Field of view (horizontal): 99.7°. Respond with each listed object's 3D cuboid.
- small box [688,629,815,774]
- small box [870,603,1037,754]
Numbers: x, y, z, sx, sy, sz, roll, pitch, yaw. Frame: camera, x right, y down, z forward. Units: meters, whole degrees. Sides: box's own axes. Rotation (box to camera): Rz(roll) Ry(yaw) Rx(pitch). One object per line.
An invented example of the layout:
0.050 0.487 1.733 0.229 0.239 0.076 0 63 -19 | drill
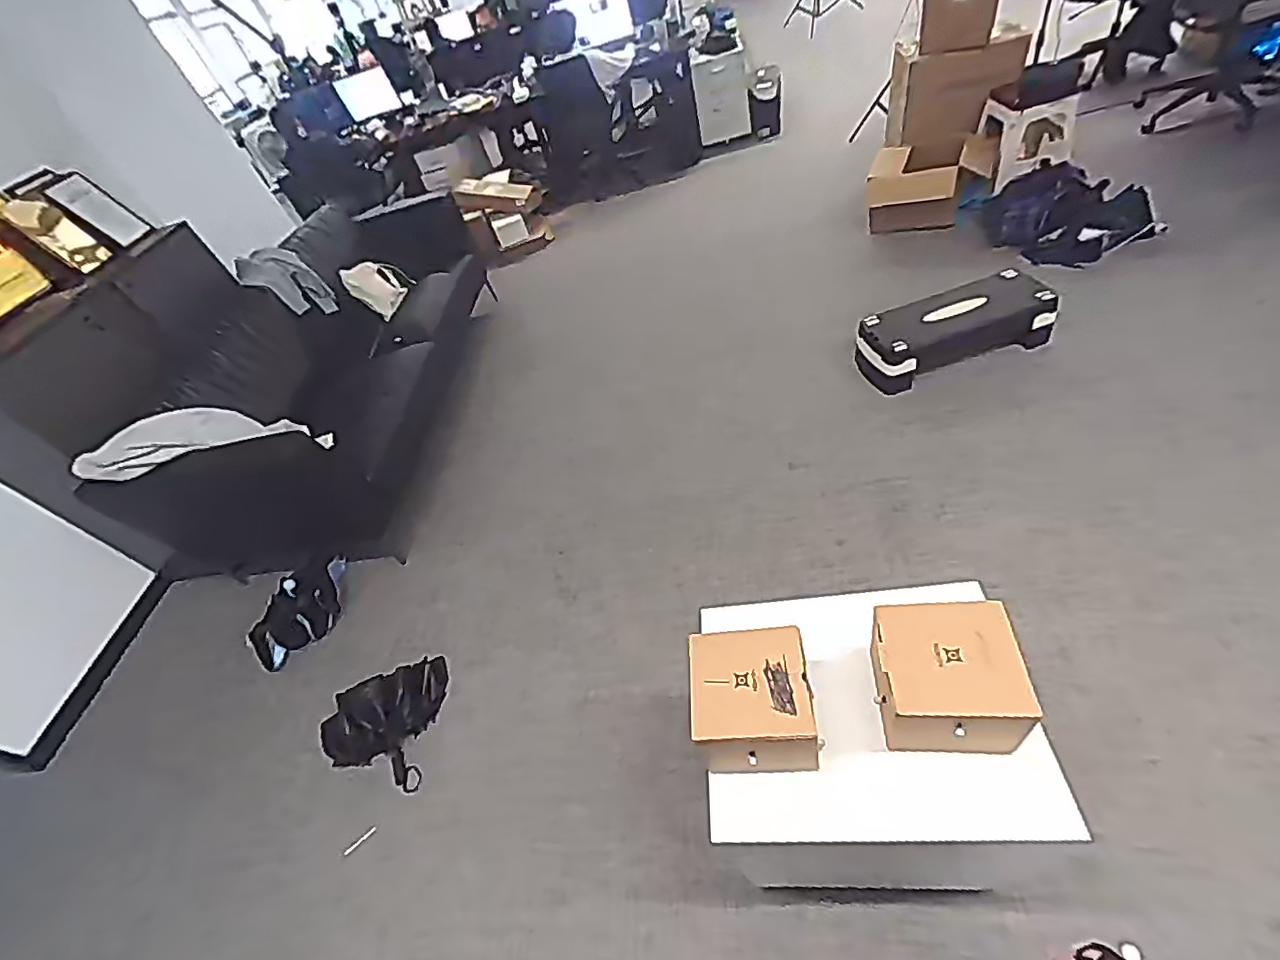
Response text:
0.179 0.356 0.861 0.179 0.176 0.168 -9 46 14 | small box
0.451 0.301 0.814 0.179 0.176 0.168 -6 49 15 | small box
